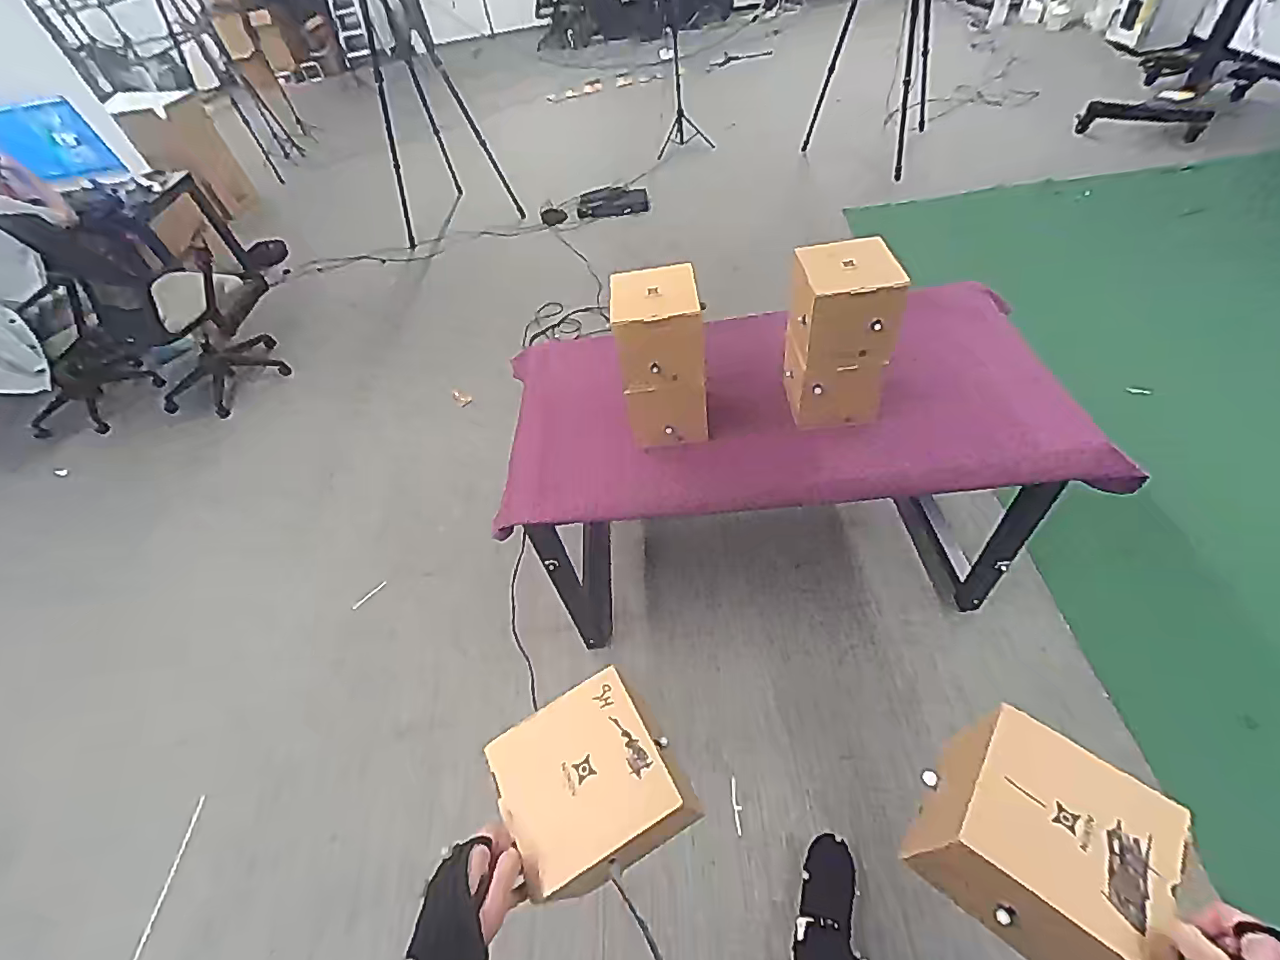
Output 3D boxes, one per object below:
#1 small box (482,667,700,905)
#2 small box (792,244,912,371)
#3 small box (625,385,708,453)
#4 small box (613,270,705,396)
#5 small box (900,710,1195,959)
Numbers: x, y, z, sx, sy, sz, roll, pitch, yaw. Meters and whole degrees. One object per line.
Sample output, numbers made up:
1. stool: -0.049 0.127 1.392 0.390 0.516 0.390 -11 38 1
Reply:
1. small box: -0.050 0.355 0.631 0.179 0.176 0.168 -30 53 -6
2. small box: 0.395 -0.324 1.040 0.168 0.176 0.179 -6 48 5
3. small box: 0.060 -0.182 1.195 0.168 0.176 0.179 -6 49 6
4. small box: 0.039 -0.290 1.074 0.168 0.176 0.179 -6 49 4
5. small box: 0.414 0.387 0.571 0.179 0.176 0.168 30 55 25
